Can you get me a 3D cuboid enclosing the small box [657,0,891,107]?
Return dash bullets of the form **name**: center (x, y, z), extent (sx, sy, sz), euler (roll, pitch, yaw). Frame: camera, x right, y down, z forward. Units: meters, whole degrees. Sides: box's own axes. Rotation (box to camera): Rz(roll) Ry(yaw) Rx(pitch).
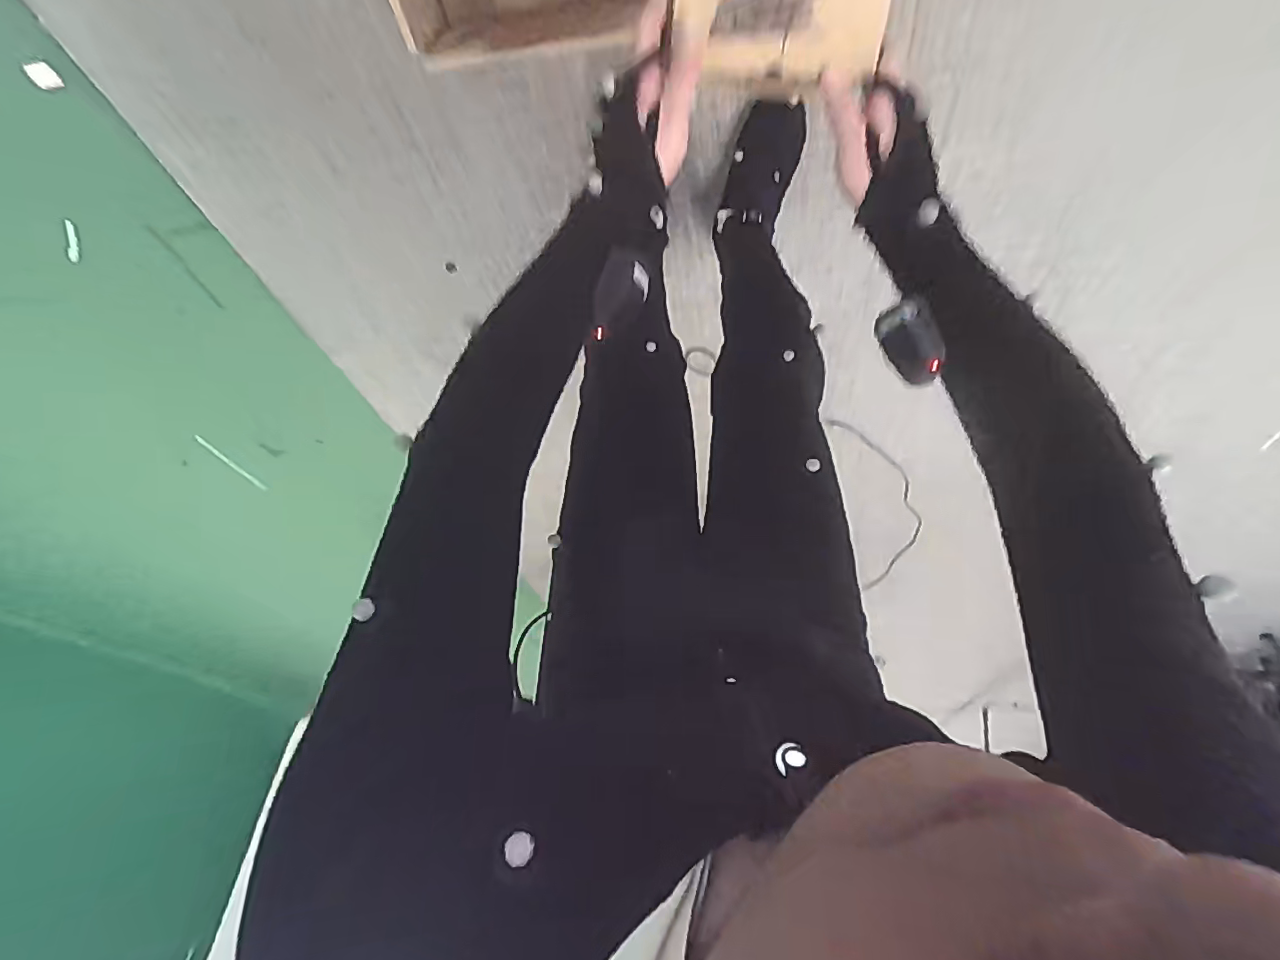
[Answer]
- **small box**: center (0.104, -0.423, 0.450), extent (0.168, 0.176, 0.179), euler (0, 120, -3)
